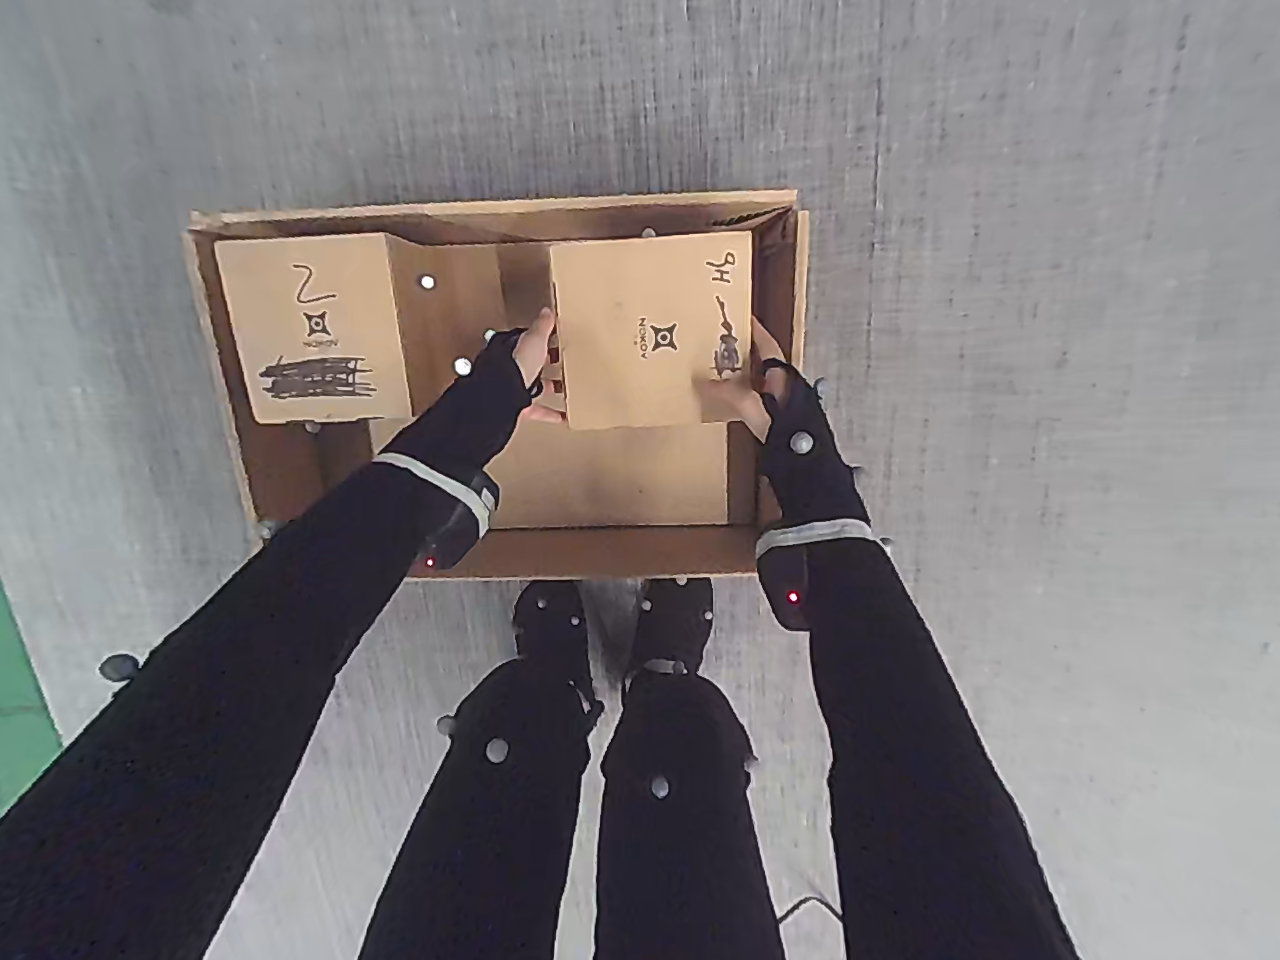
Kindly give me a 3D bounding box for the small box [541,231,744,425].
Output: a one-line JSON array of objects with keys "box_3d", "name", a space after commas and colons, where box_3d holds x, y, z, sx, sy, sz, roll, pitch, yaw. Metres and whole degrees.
[{"box_3d": [0.008, -0.158, 0.558, 0.179, 0.176, 0.168, -2, 111, 3], "name": "small box"}]
